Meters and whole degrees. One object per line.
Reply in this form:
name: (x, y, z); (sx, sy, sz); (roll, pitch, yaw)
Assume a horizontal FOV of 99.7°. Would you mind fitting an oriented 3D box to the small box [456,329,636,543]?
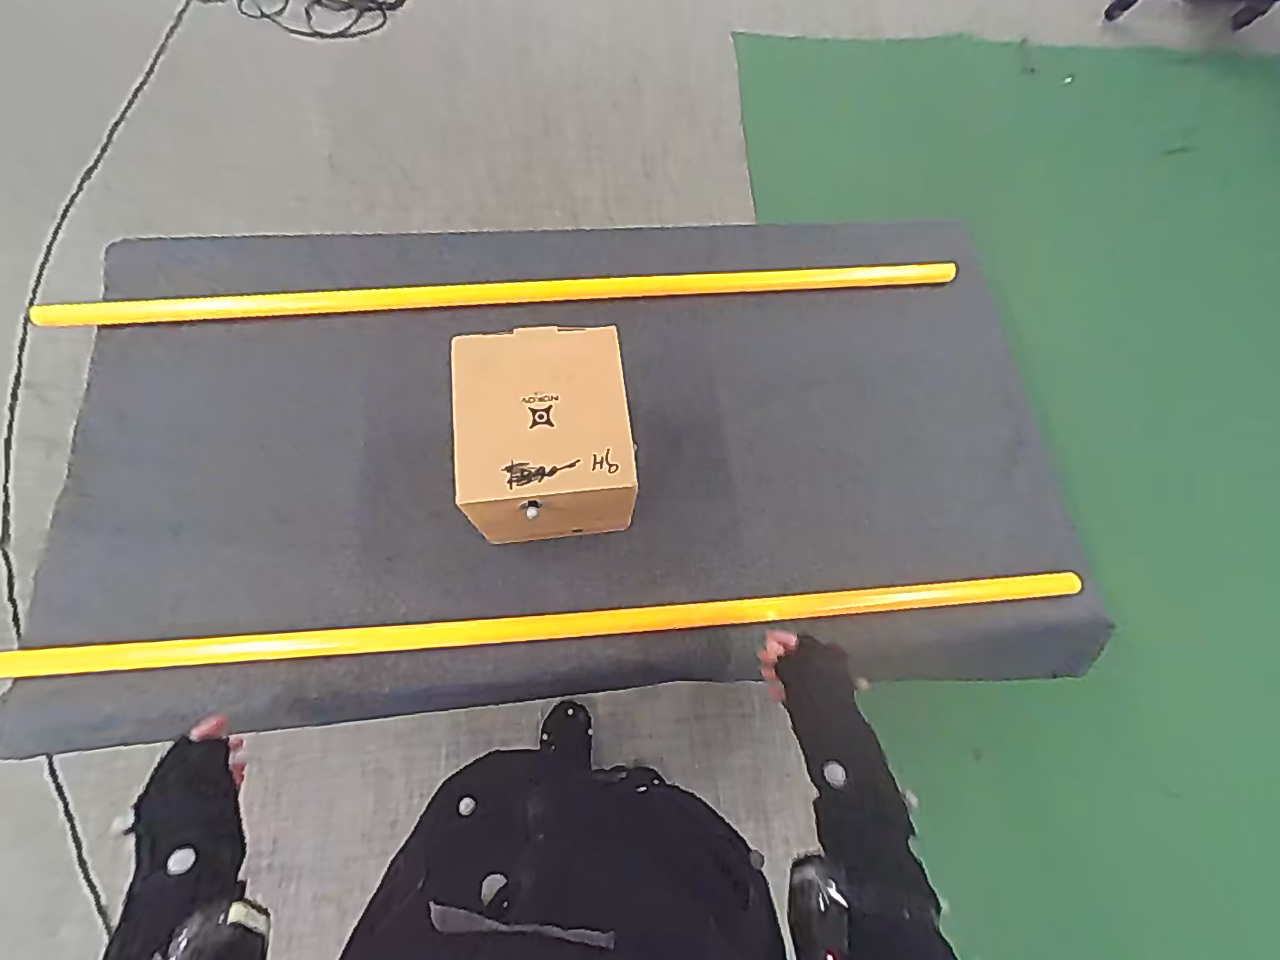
small box: (-0.099, -0.041, 0.596); (0.168, 0.176, 0.179); (-6, 71, -6)
